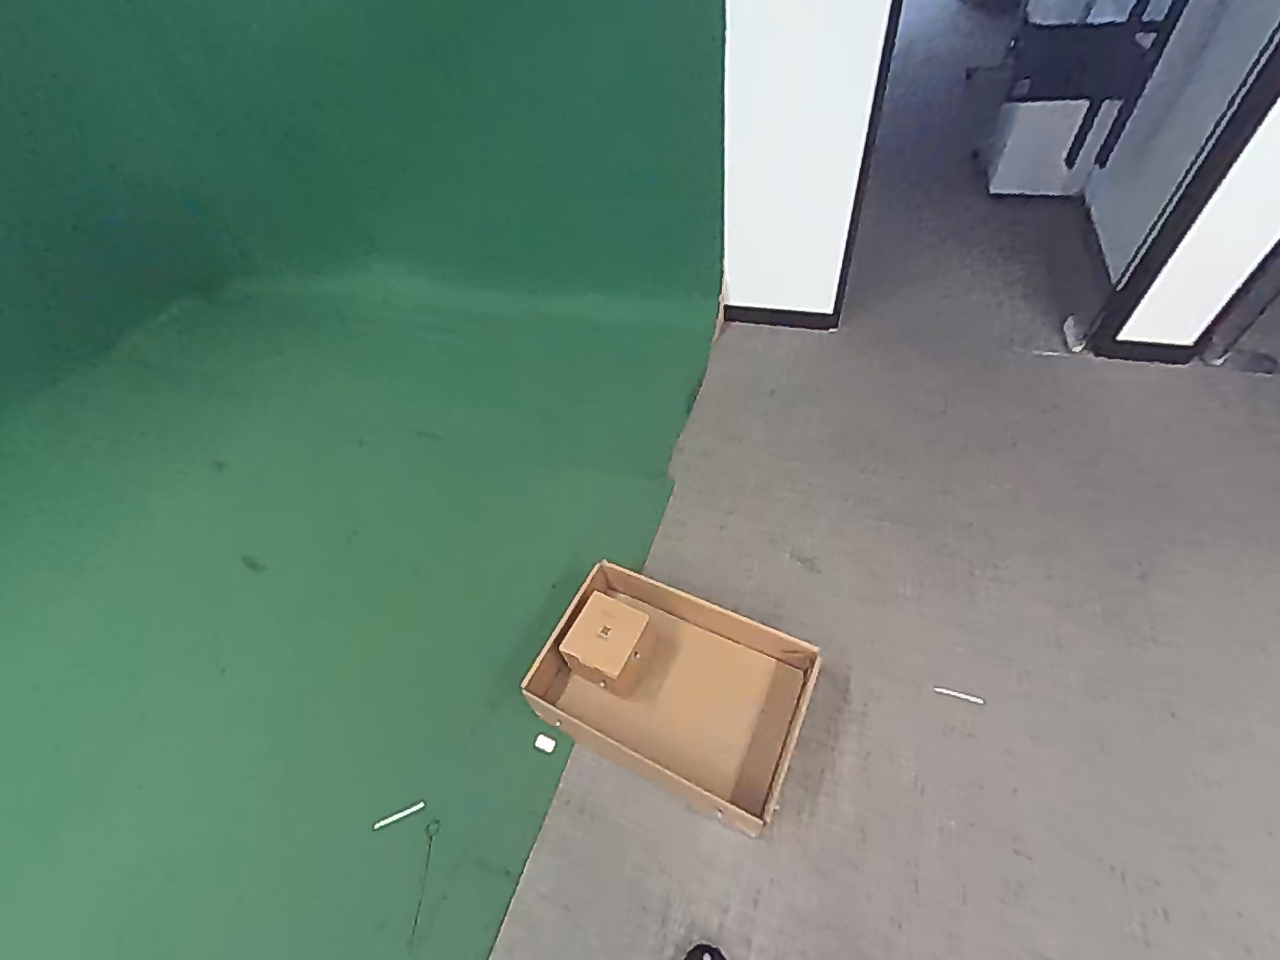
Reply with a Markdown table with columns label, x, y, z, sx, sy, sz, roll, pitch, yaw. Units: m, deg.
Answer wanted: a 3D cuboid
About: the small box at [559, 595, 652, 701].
| label | x | y | z | sx | sy | sz | roll | pitch | yaw |
| --- | --- | --- | --- | --- | --- | --- | --- | --- | --- |
| small box | -0.078 | 0.432 | 1.376 | 0.168 | 0.176 | 0.179 | 21 | 57 | 21 |
